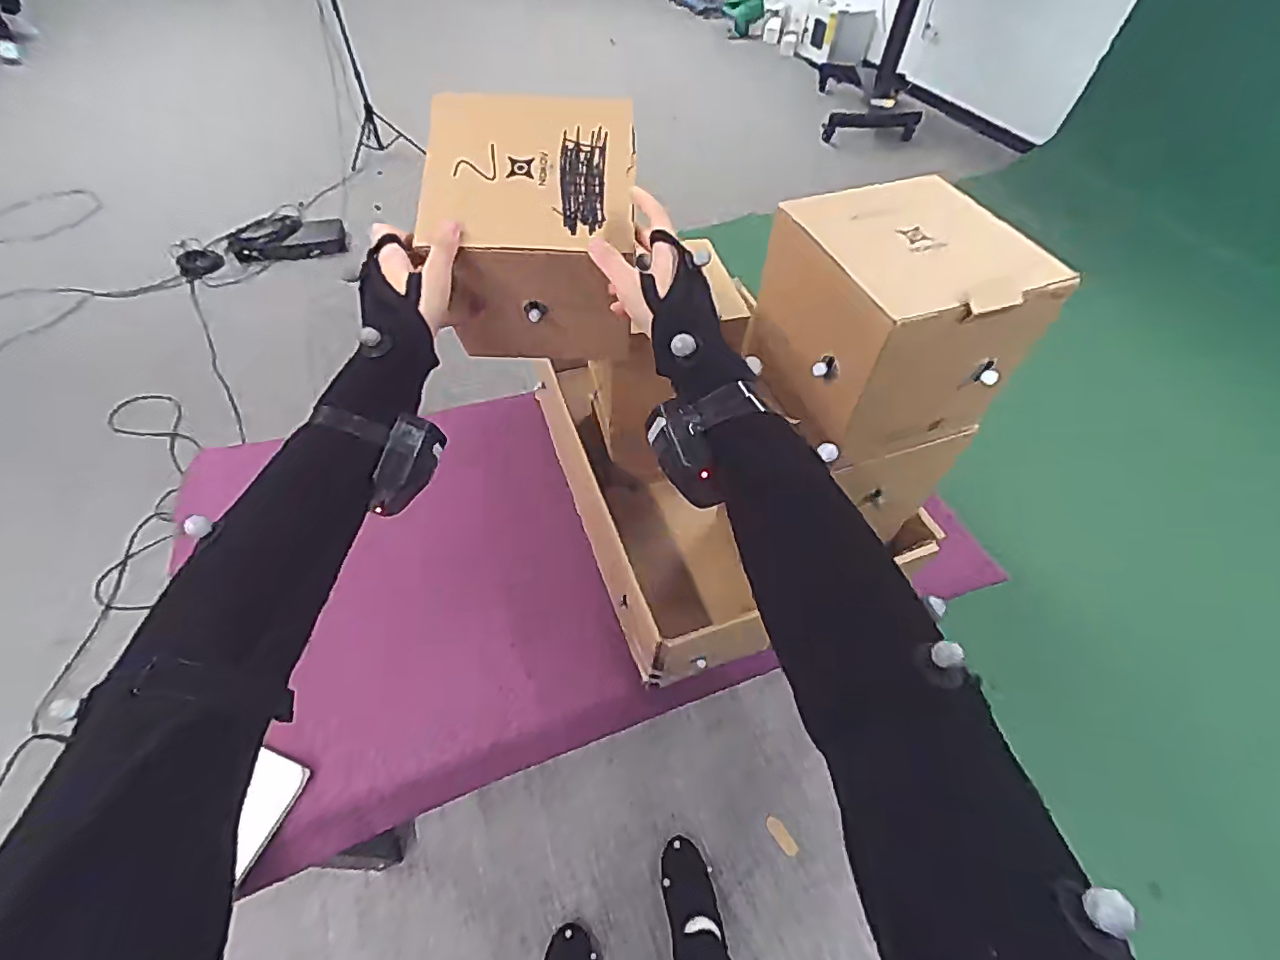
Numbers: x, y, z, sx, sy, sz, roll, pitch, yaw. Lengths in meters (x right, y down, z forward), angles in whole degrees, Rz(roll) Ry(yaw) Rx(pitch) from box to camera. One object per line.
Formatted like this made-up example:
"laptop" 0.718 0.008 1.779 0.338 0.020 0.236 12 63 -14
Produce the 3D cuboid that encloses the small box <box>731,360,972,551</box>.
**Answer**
"small box" 0.223 -0.043 0.626 0.179 0.176 0.168 -16 55 -11

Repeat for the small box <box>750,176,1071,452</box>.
"small box" 0.219 -0.145 0.498 0.168 0.176 0.179 -15 54 -12

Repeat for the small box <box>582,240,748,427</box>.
"small box" 0.024 -0.196 0.738 0.179 0.176 0.168 -12 57 -10
